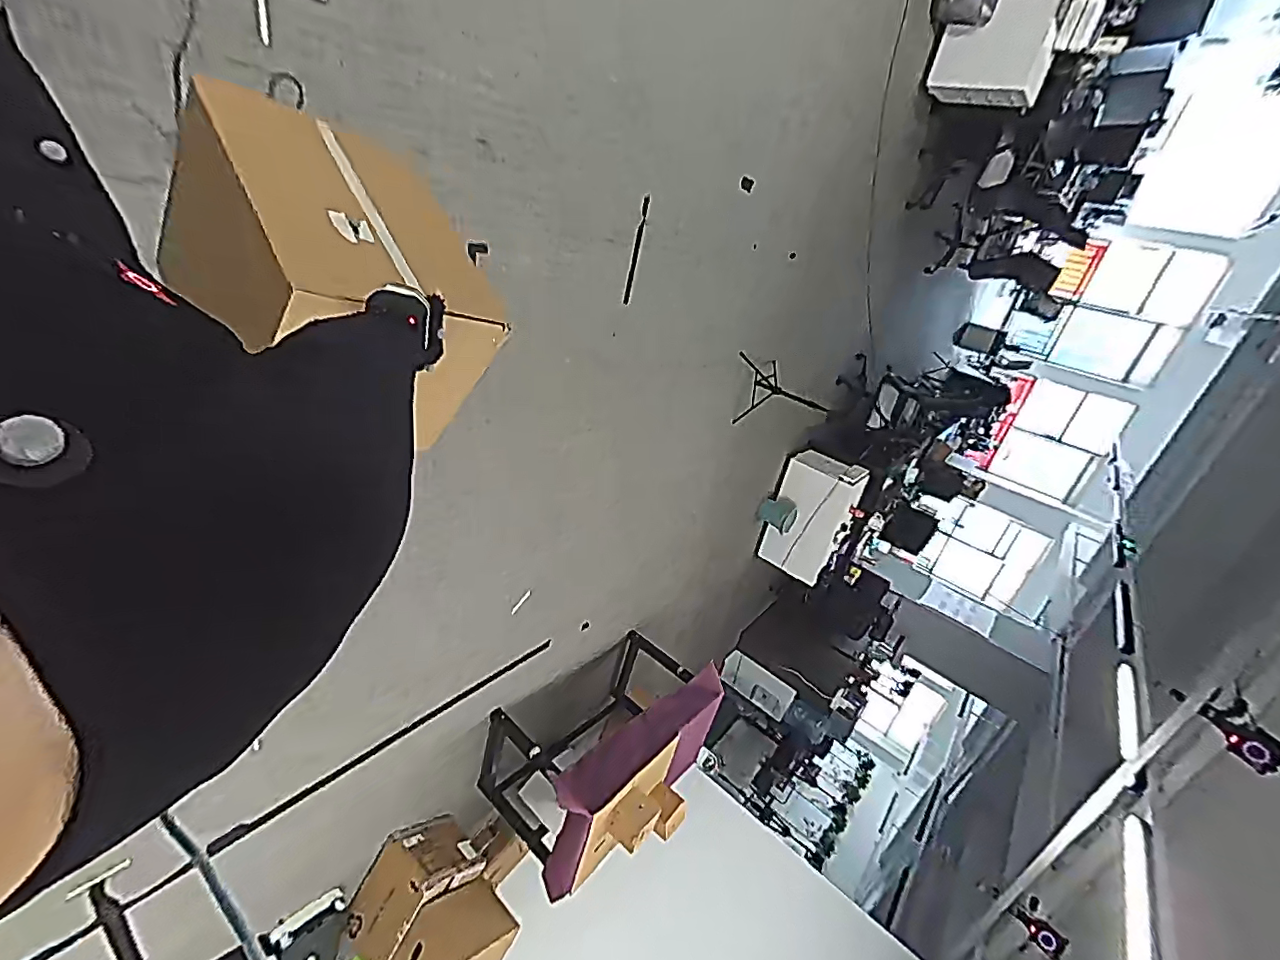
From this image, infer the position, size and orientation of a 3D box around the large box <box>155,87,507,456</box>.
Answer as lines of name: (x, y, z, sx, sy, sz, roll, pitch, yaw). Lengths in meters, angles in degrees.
large box: (-0.496, -0.291, 0.862, 0.320, 0.408, 0.320, -43, 161, 31)
